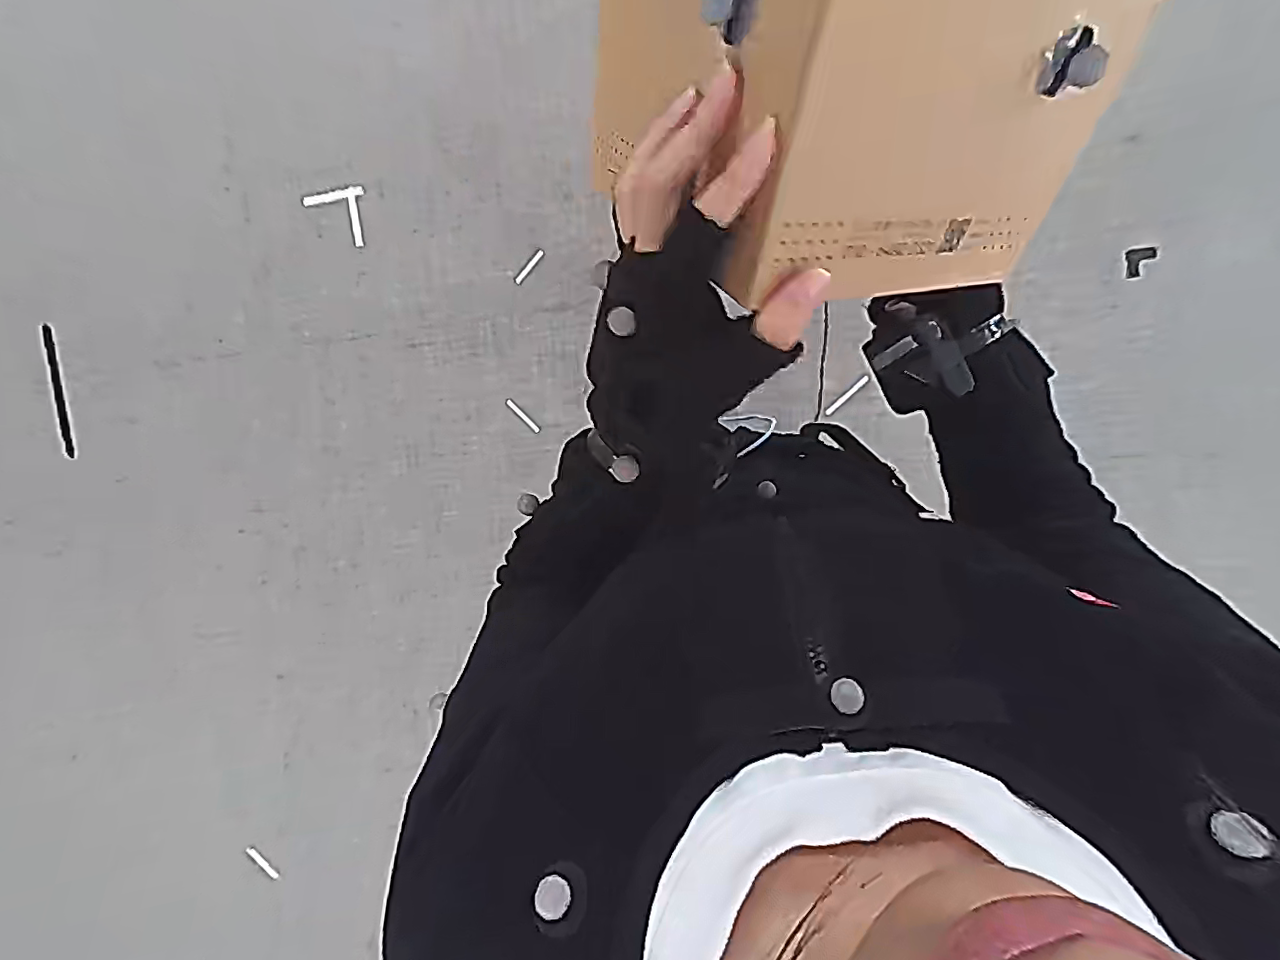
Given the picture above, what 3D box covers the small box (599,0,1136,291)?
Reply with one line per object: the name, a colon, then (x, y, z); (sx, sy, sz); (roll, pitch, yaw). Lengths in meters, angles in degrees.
small box: (0.090, -0.199, 0.253); (0.168, 0.179, 0.176); (-13, 137, -24)
